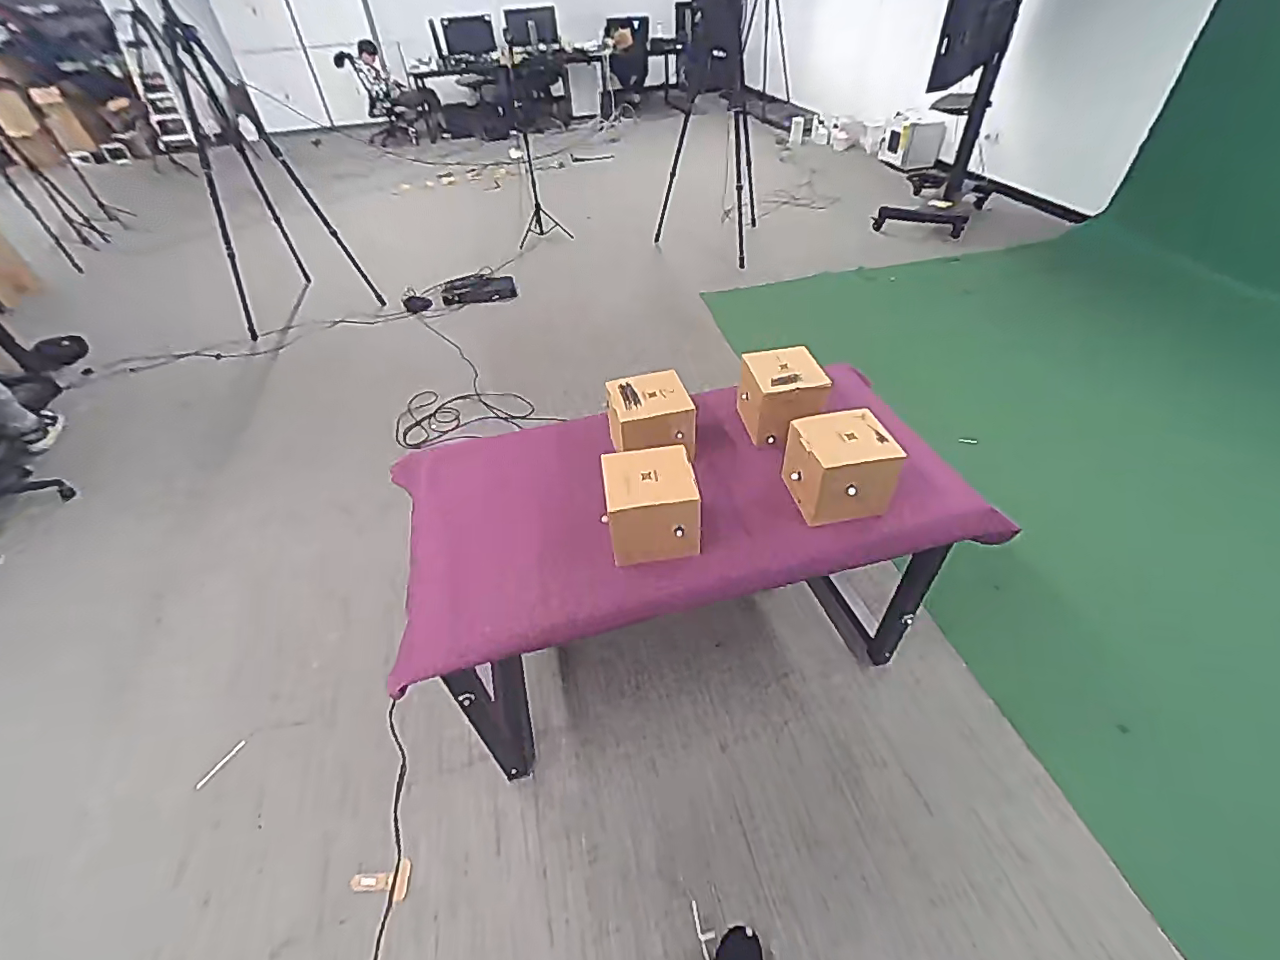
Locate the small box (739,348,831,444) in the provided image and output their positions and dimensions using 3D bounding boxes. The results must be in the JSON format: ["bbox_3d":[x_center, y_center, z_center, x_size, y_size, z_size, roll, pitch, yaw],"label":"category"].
[{"bbox_3d":[0.350,-0.202,1.336,0.168,0.176,0.179,-8,43,-4],"label":"small box"}]

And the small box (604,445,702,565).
[{"bbox_3d":[0.024,0.052,1.097,0.179,0.176,0.168,-7,43,-2],"label":"small box"}]

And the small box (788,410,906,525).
[{"bbox_3d":[0.423,-0.024,1.144,0.179,0.176,0.168,-9,43,-4],"label":"small box"}]
